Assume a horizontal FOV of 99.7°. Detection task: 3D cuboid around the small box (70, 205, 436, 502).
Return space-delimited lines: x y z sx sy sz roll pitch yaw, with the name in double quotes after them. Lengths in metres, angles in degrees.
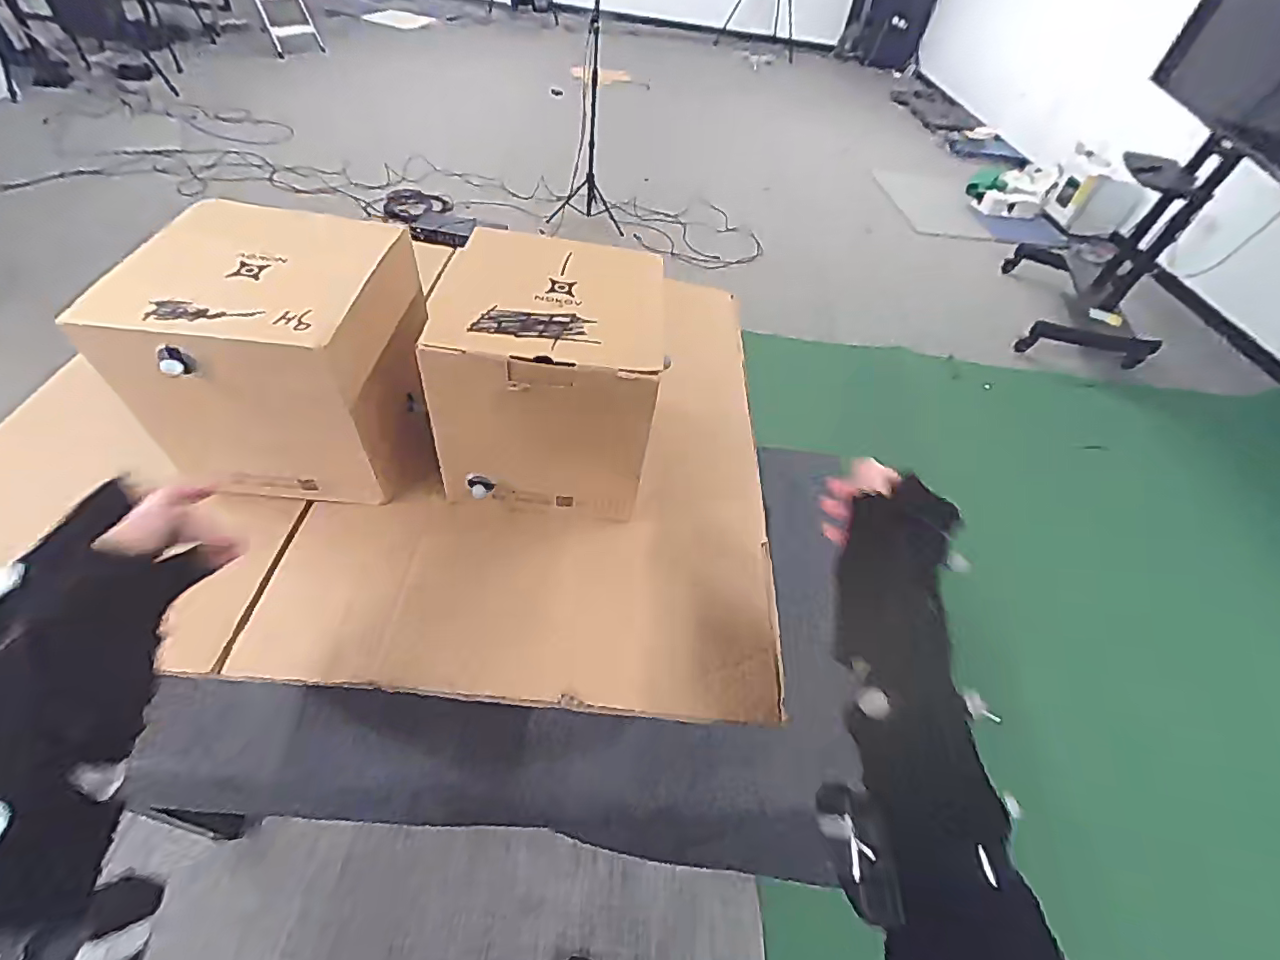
-0.288 -0.106 0.462 0.168 0.176 0.179 5 49 -2 "small box"
